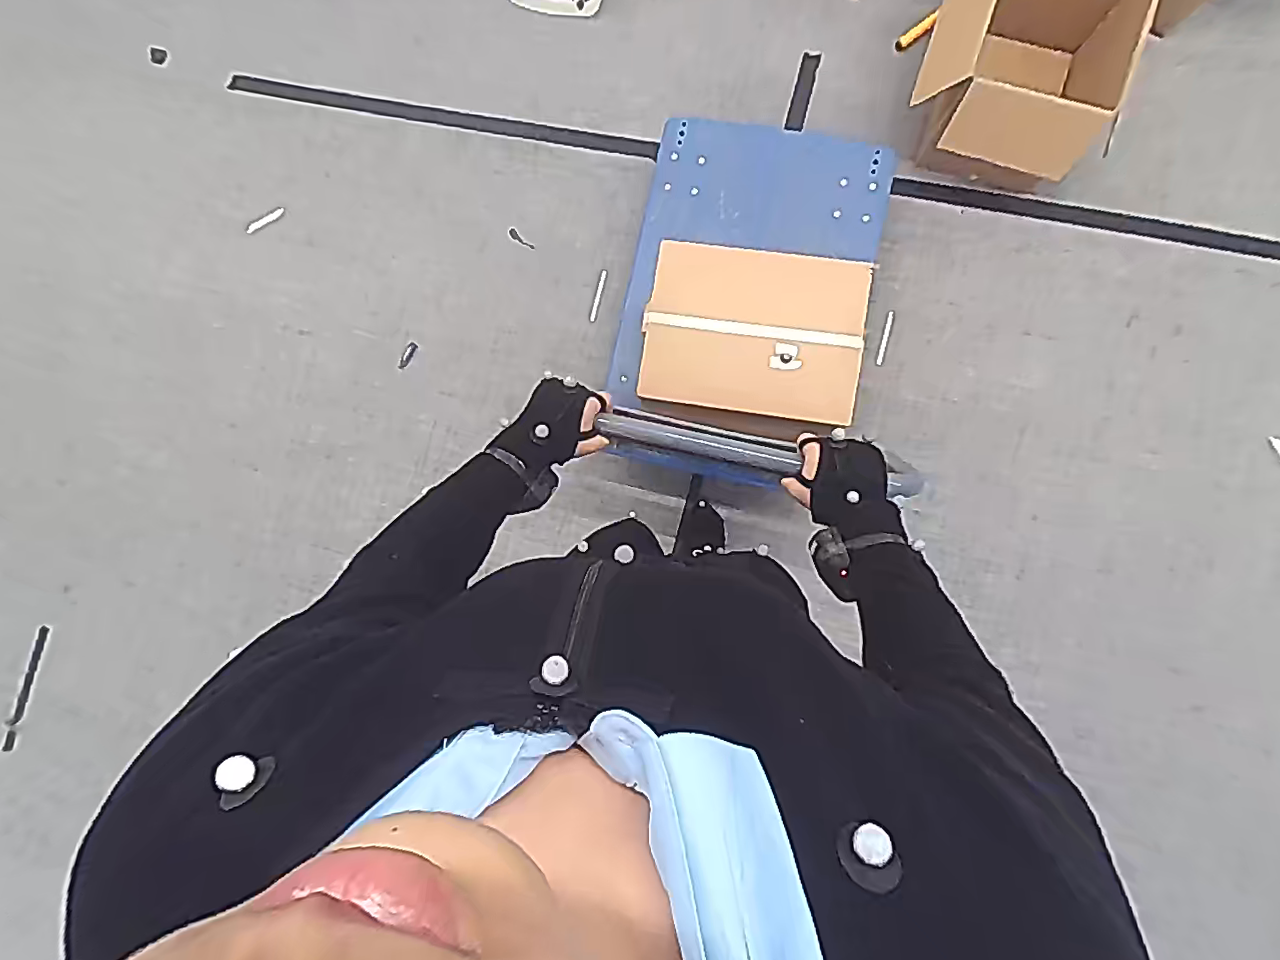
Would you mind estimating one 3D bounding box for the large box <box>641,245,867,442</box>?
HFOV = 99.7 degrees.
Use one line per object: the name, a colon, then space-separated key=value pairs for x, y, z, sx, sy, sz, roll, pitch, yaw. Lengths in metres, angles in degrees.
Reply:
large box: x=0.226 y=-0.275 z=1.183 sx=0.408 sy=0.320 sz=0.320 roll=9 pitch=88 yaw=5
